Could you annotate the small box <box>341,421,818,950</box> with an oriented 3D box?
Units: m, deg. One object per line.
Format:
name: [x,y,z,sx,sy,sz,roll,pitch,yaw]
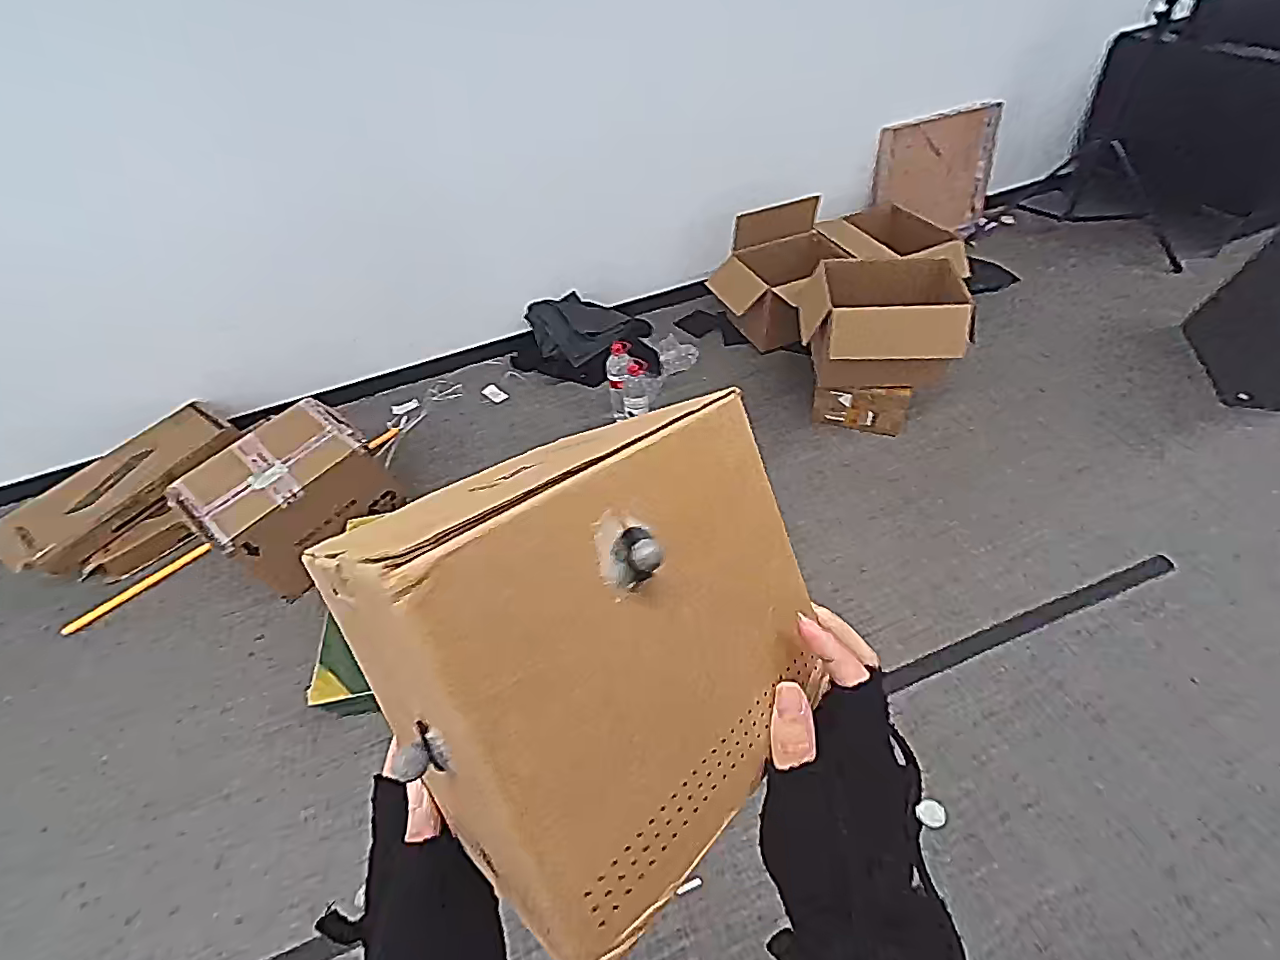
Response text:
small box: [-0.030,0.086,0.299,0.179,0.176,0.168,-28,11,-35]
